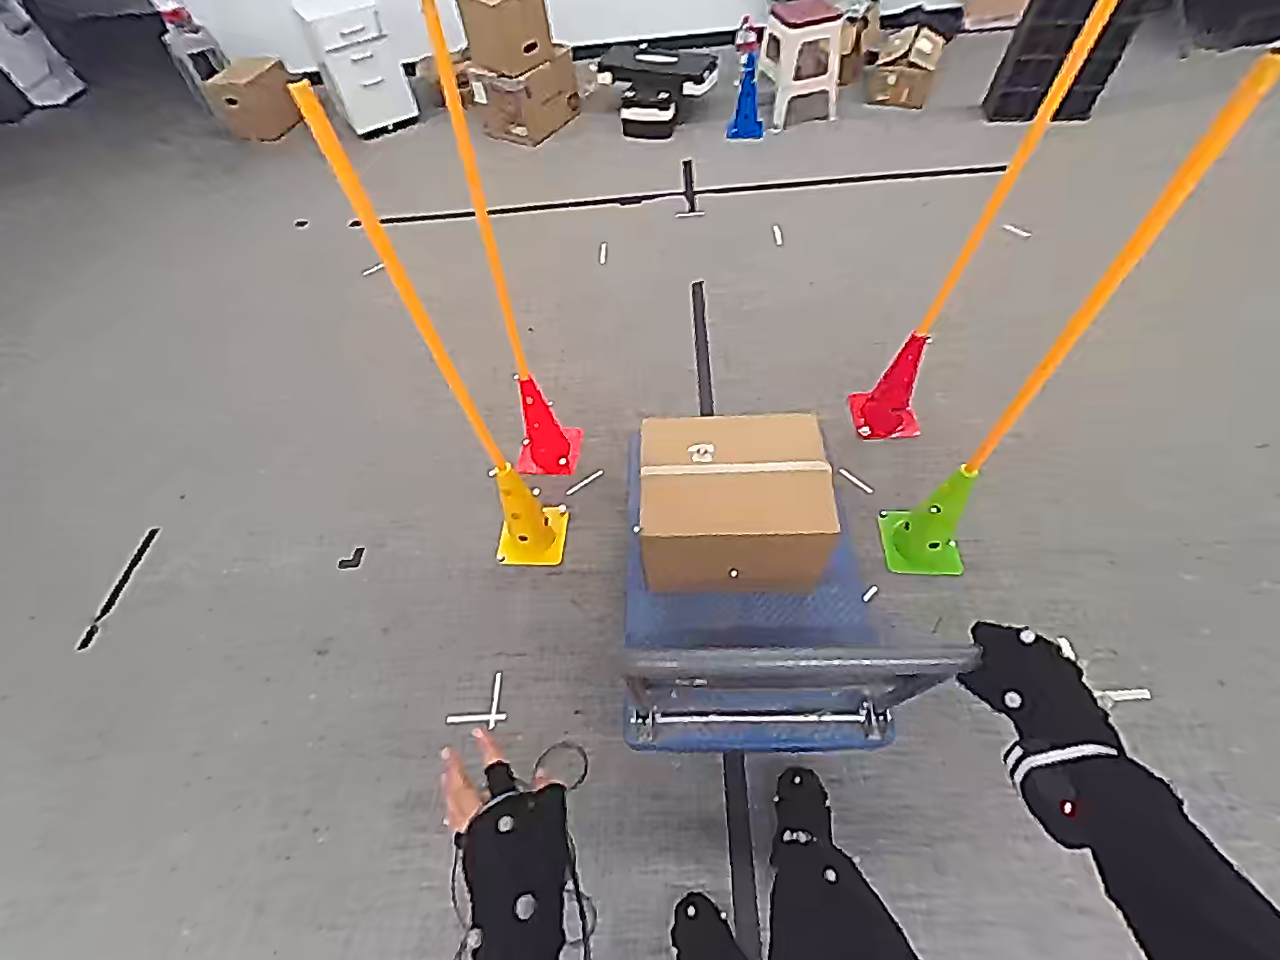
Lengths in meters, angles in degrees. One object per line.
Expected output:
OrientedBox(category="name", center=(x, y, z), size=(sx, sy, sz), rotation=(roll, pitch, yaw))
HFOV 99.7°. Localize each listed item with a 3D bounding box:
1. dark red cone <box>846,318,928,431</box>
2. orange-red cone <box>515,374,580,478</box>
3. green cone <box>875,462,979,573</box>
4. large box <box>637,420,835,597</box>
OrientedBox(category="dark red cone", center=(0.800, -0.332, 1.680), size=(0.201, 0.394, 0.202), rotation=(-2, 56, 2))
OrientedBox(category="orange-red cone", center=(-0.325, -0.194, 1.713), size=(0.198, 0.360, 0.199), rotation=(4, 55, 7))
OrientedBox(category="green cone", center=(0.784, 0.078, 1.420), size=(0.202, 0.368, 0.200), rotation=(1, 56, 5))
OrientedBox(category="large box", center=(0.208, 0.079, 1.298), size=(0.408, 0.320, 0.320), rotation=(-2, 56, 5))
